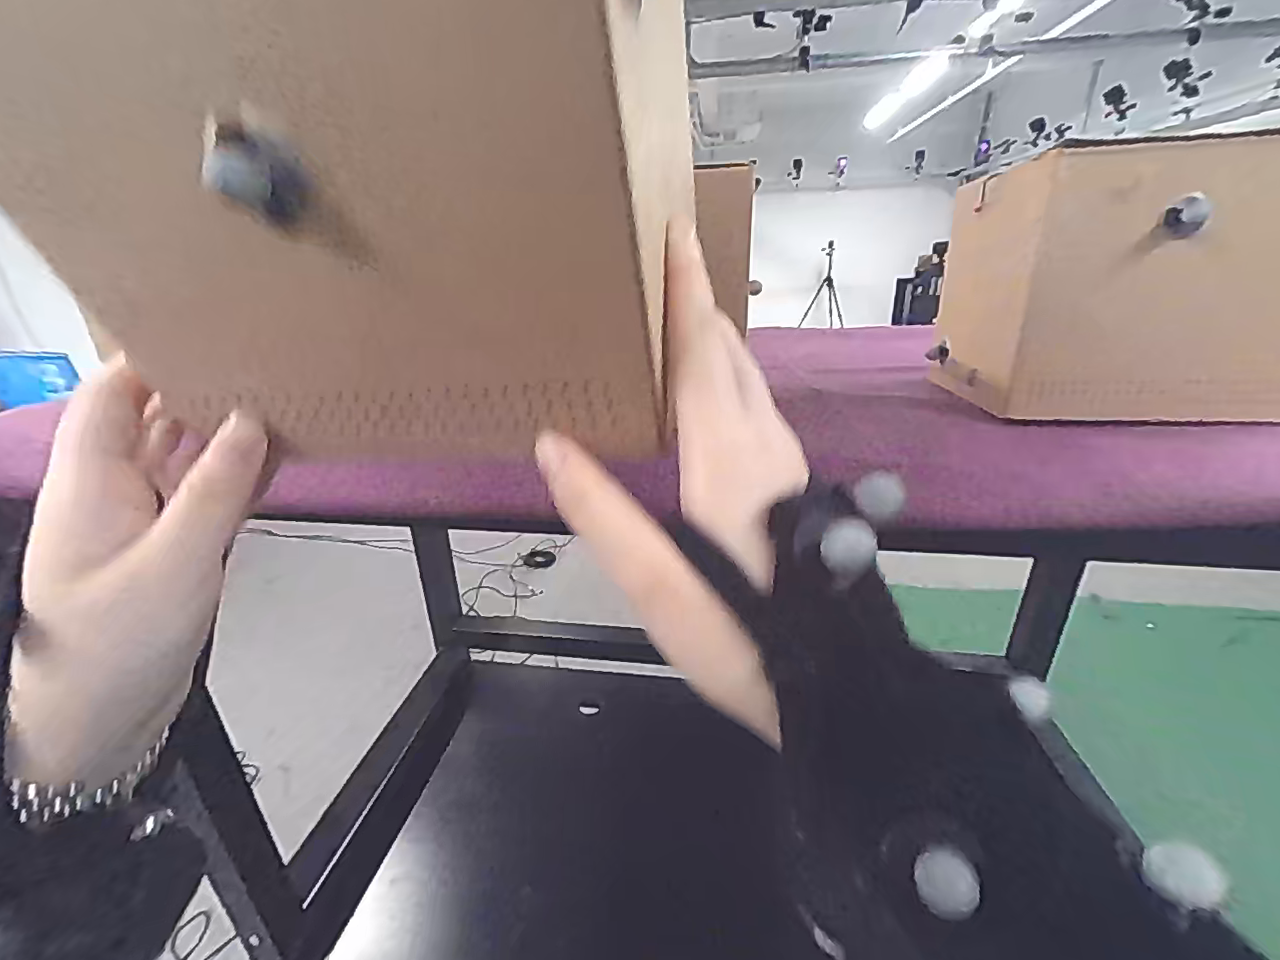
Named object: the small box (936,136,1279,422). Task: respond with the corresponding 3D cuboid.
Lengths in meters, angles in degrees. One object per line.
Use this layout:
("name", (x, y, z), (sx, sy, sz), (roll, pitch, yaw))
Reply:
("small box", (0.348, -0.143, 0.417), (0.179, 0.176, 0.168), (3, 20, 9))
